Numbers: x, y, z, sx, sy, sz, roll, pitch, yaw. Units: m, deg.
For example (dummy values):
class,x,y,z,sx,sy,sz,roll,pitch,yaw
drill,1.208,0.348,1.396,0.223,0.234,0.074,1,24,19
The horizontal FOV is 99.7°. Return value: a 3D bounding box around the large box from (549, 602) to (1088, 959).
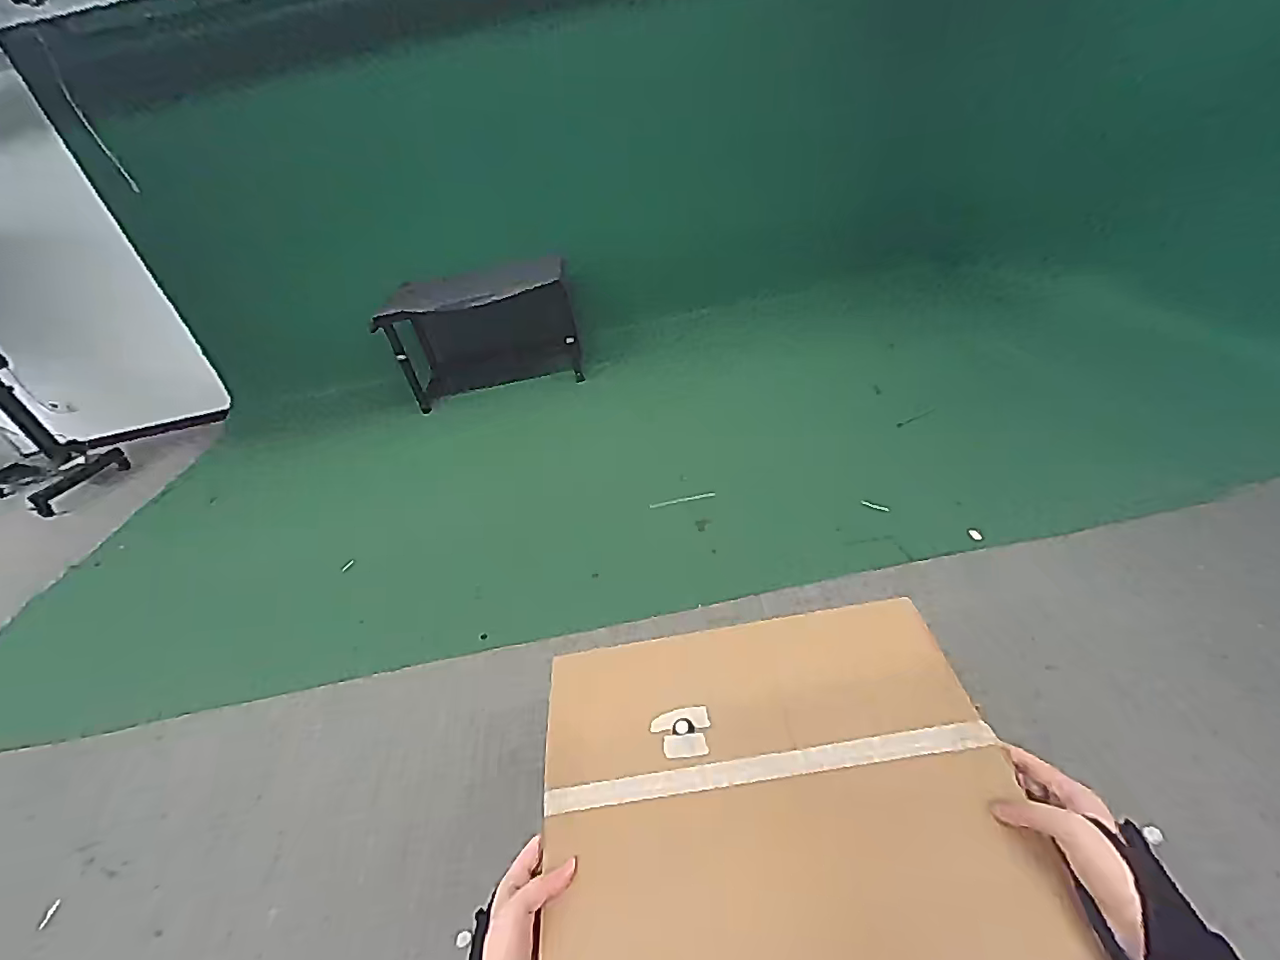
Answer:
class,x,y,z,sx,sy,sz,roll,pitch,yaw
large box,0.142,0.384,0.597,0.408,0.320,0.320,-12,39,4
